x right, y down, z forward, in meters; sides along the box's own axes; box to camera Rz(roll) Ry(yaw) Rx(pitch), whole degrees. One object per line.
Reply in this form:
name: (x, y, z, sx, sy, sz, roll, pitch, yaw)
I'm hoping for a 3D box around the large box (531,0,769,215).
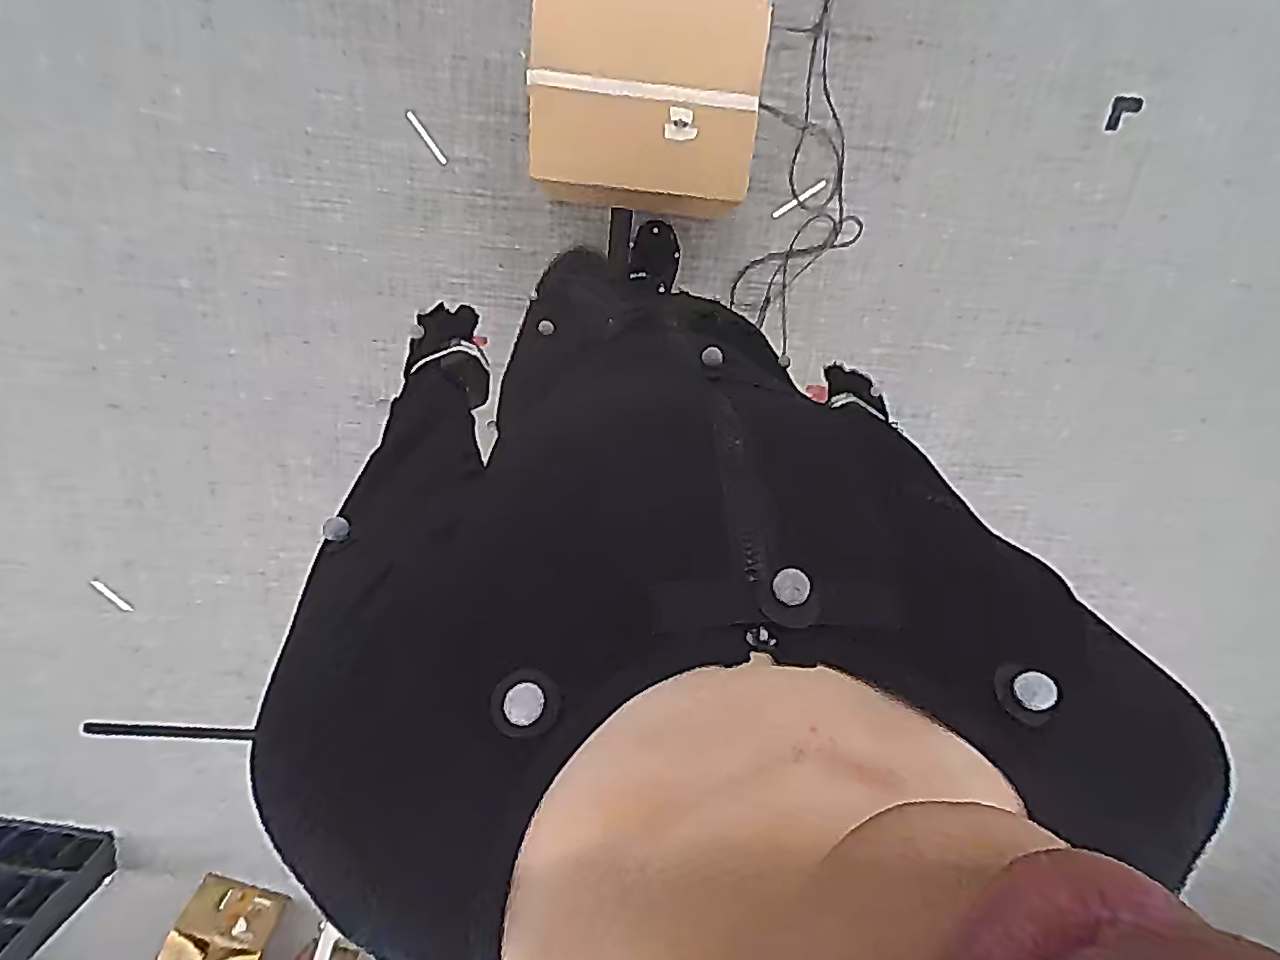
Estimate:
large box: (0.001, -0.738, 1.088, 0.408, 0.320, 0.320, 4, 111, -5)
